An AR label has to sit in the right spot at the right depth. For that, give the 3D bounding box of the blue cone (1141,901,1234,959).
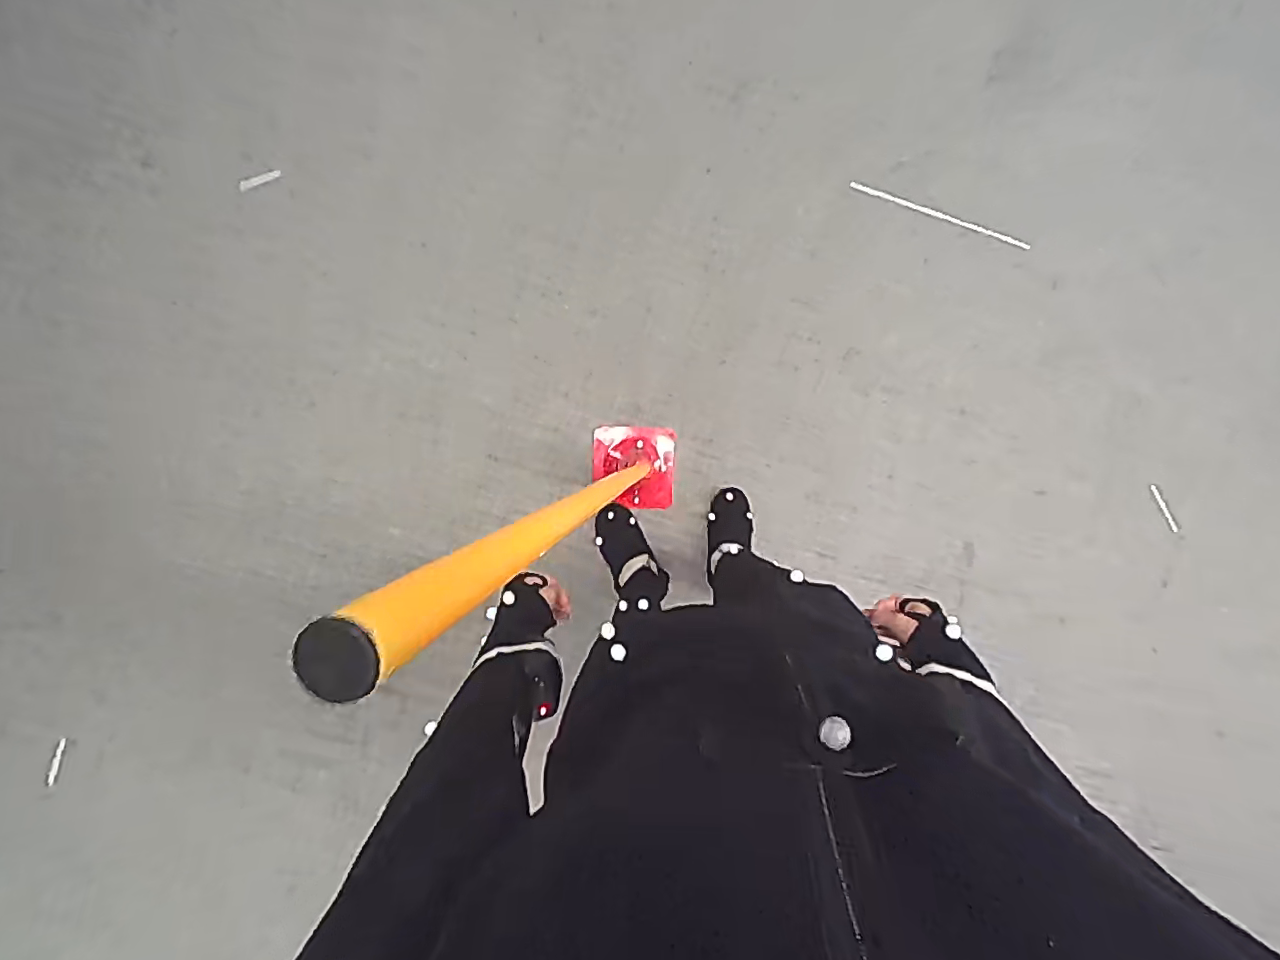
[{"bbox_3d":[1.430,1.213,1.253,0.193,0.380,0.192,-25,91,-6],"label":"blue cone"}]
